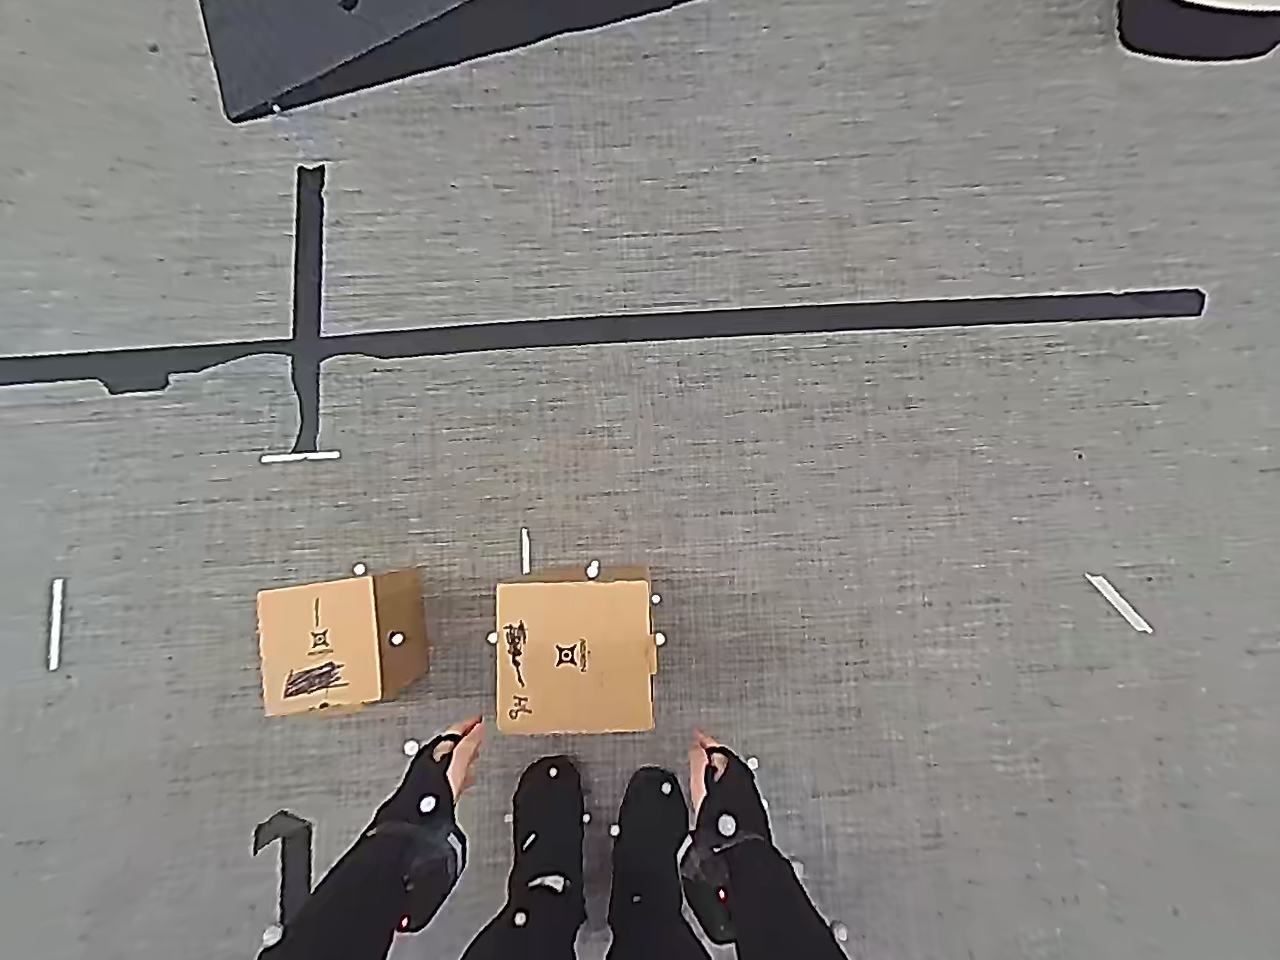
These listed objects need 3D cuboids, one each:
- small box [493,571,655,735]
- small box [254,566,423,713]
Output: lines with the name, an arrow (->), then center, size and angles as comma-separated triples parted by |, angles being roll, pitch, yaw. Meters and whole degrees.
small box -> -0.074, 0.201, 0.670 | 0.179, 0.176, 0.168 | -1, 84, -1
small box -> -0.448, 0.233, 0.829 | 0.168, 0.176, 0.179 | -7, 84, -1
